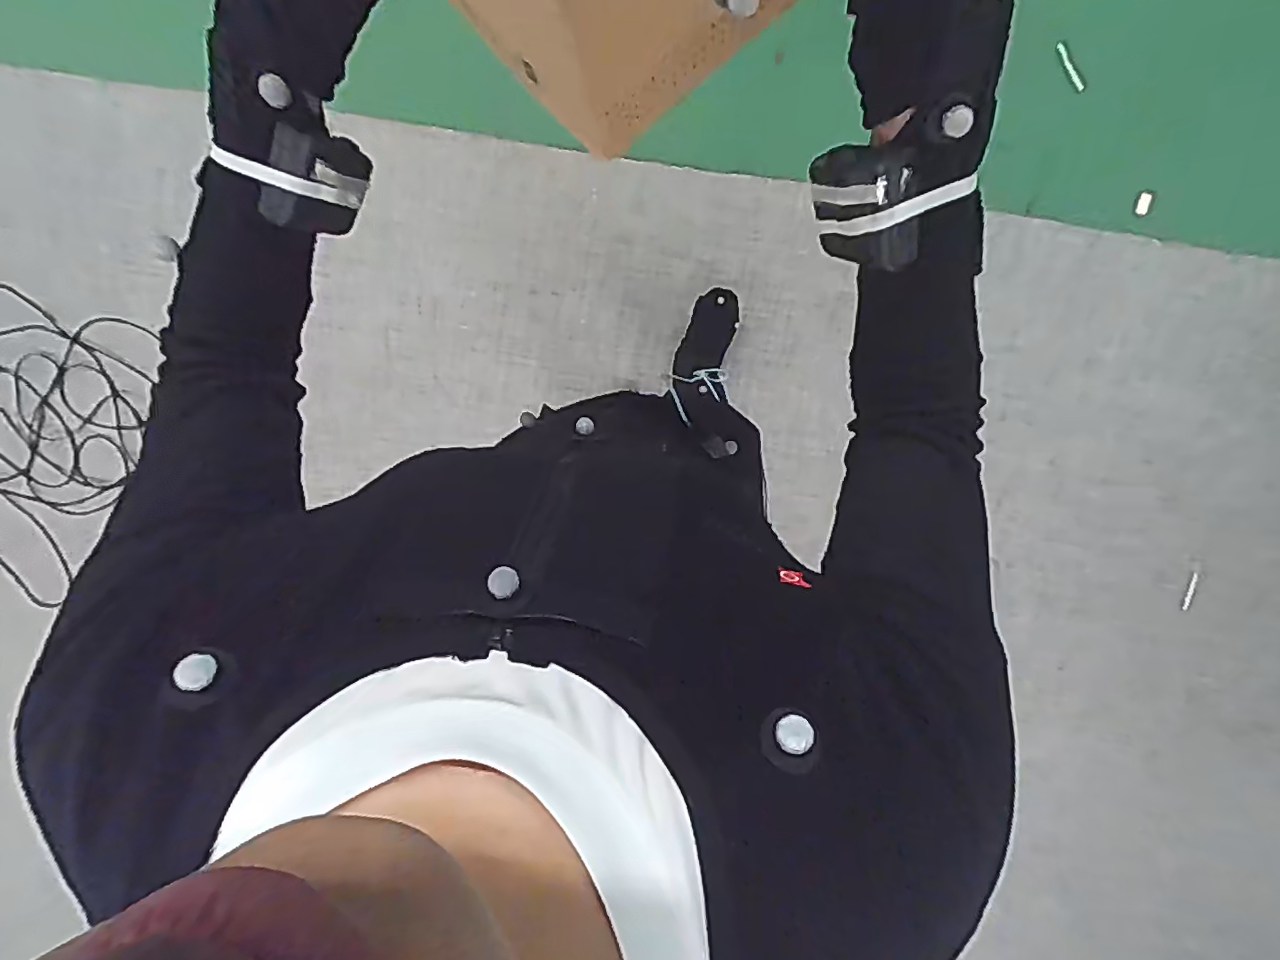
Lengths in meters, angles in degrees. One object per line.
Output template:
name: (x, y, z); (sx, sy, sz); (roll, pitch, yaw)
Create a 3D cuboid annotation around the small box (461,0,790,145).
small box: (-0.013, -0.307, 0.237); (0.179, 0.176, 0.168); (-40, 77, 2)
